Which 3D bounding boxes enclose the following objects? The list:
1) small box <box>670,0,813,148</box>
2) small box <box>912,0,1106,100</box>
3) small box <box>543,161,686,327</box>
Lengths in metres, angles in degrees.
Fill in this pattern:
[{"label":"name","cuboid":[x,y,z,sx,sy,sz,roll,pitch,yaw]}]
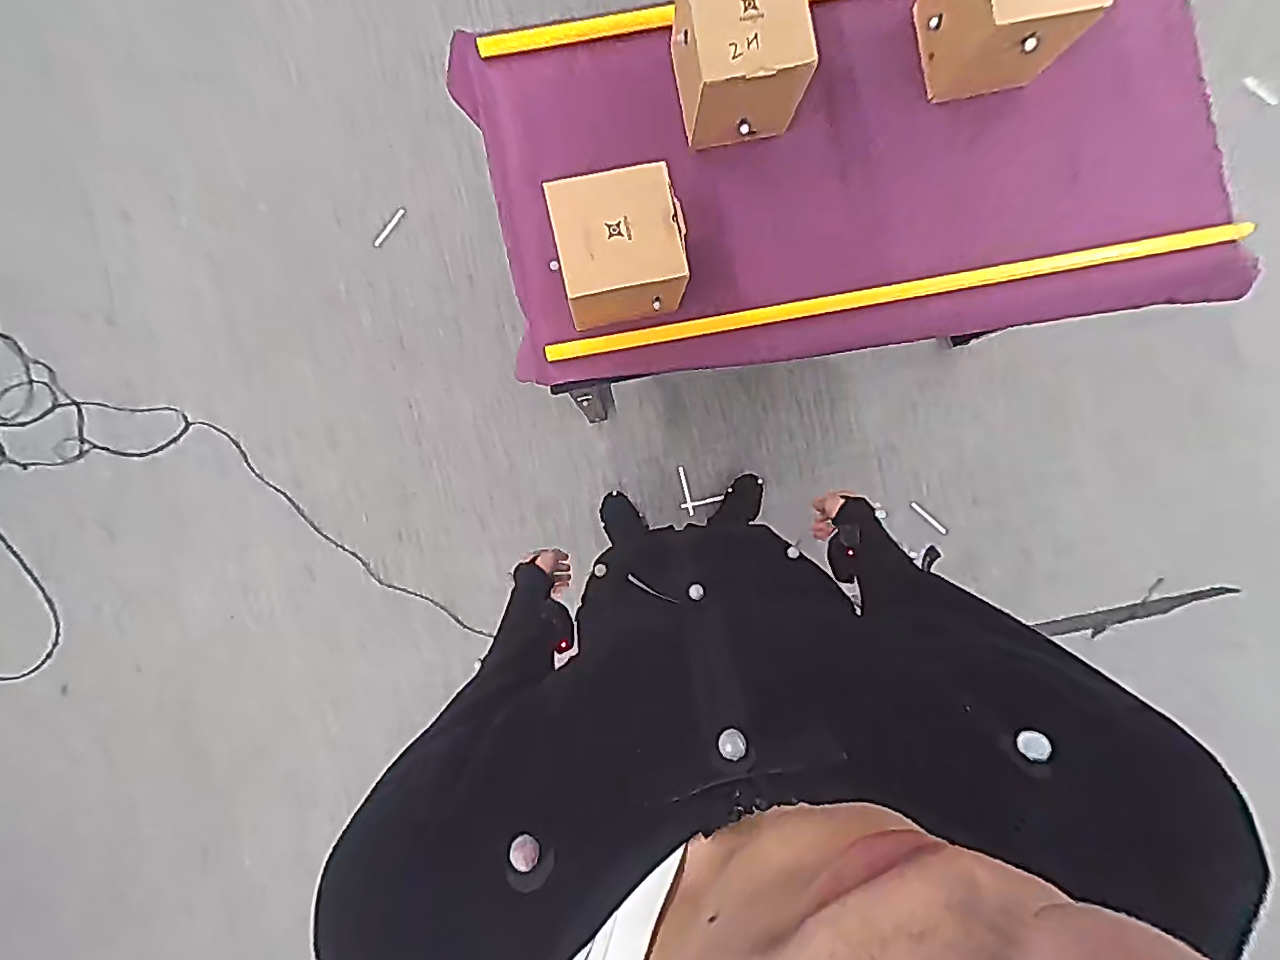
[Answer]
[{"label":"small box","cuboid":[0.145,-0.655,0.831,0.168,0.176,0.179,-11,93,-1]},{"label":"small box","cuboid":[0.560,-0.736,0.841,0.179,0.176,0.168,-11,92,-1]},{"label":"small box","cuboid":[-0.040,-0.349,0.828,0.179,0.176,0.168,-12,90,-3]}]
